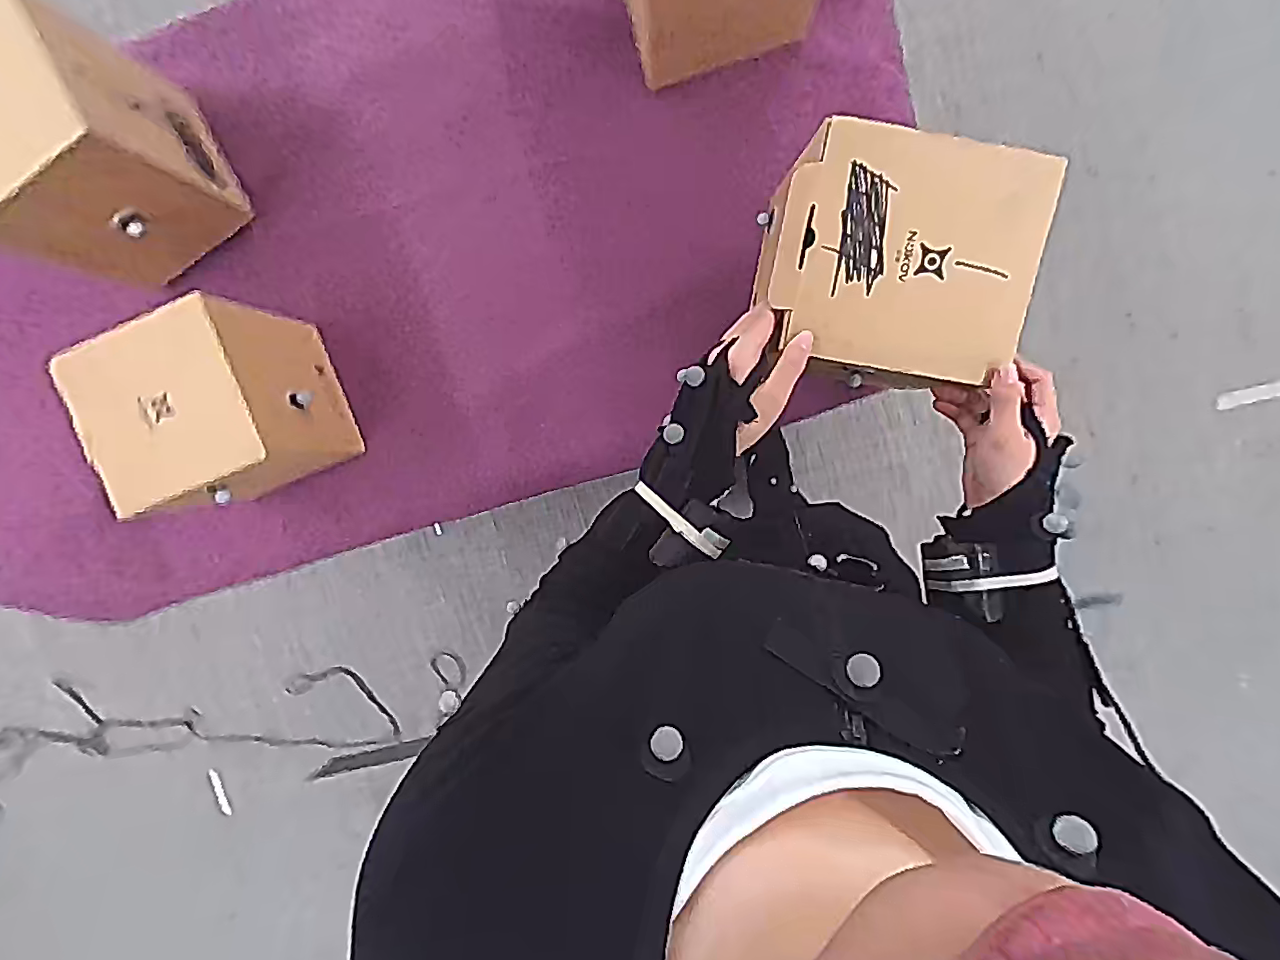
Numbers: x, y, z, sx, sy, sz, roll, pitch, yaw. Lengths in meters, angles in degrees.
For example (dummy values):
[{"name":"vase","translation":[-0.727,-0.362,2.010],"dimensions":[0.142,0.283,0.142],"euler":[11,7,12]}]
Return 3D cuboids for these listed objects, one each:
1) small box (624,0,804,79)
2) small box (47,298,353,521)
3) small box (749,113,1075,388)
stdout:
[{"name":"small box","translation":[0.064,-0.523,0.497],"dimensions":[0.179,0.176,0.168],"euler":[-16,96,6]},{"name":"small box","translation":[-0.449,-0.074,0.590],"dimensions":[0.179,0.176,0.168],"euler":[-21,94,6]},{"name":"small box","translation":[0.205,-0.174,0.465],"dimensions":[0.179,0.176,0.168],"euler":[9,100,-3]}]
